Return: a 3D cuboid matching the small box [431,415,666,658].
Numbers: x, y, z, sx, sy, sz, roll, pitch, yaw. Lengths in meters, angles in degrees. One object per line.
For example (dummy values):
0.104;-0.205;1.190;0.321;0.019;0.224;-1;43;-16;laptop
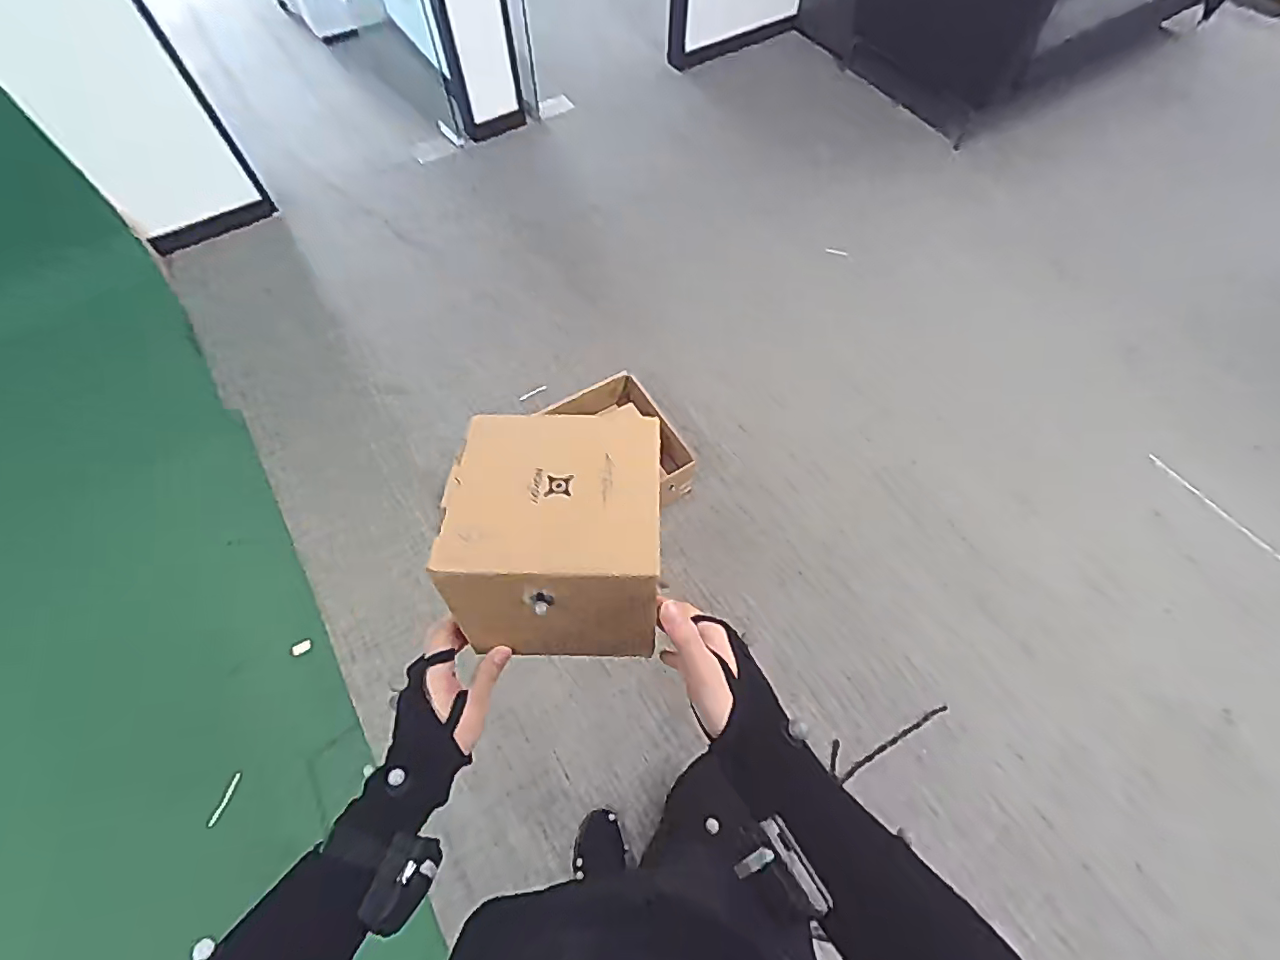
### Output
-0.067;0.057;0.509;0.179;0.176;0.168;2;51;1;small box
